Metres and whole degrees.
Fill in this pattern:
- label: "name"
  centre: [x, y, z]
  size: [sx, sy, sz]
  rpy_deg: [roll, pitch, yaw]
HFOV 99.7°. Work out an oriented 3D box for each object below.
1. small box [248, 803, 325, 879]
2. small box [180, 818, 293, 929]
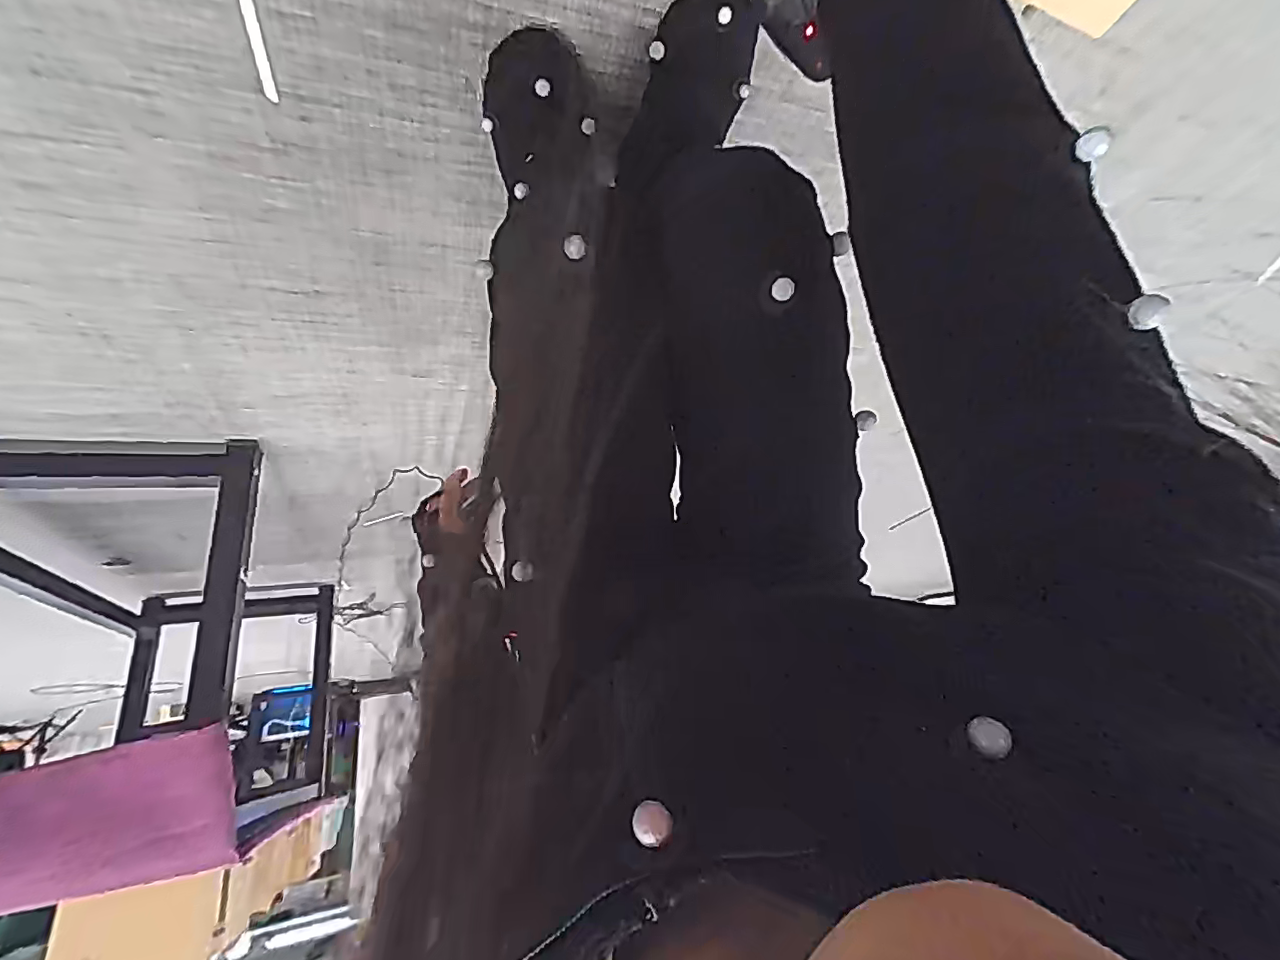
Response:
- label: "small box"
  centre: [-1.029, 1.053, 1.572]
  size: [0.168, 0.176, 0.179]
  rpy_deg: [-2, 156, -19]
- label: "small box"
  centre: [-0.946, 0.920, 1.287]
  size: [0.179, 0.176, 0.168]
  rpy_deg: [-2, 156, -19]
